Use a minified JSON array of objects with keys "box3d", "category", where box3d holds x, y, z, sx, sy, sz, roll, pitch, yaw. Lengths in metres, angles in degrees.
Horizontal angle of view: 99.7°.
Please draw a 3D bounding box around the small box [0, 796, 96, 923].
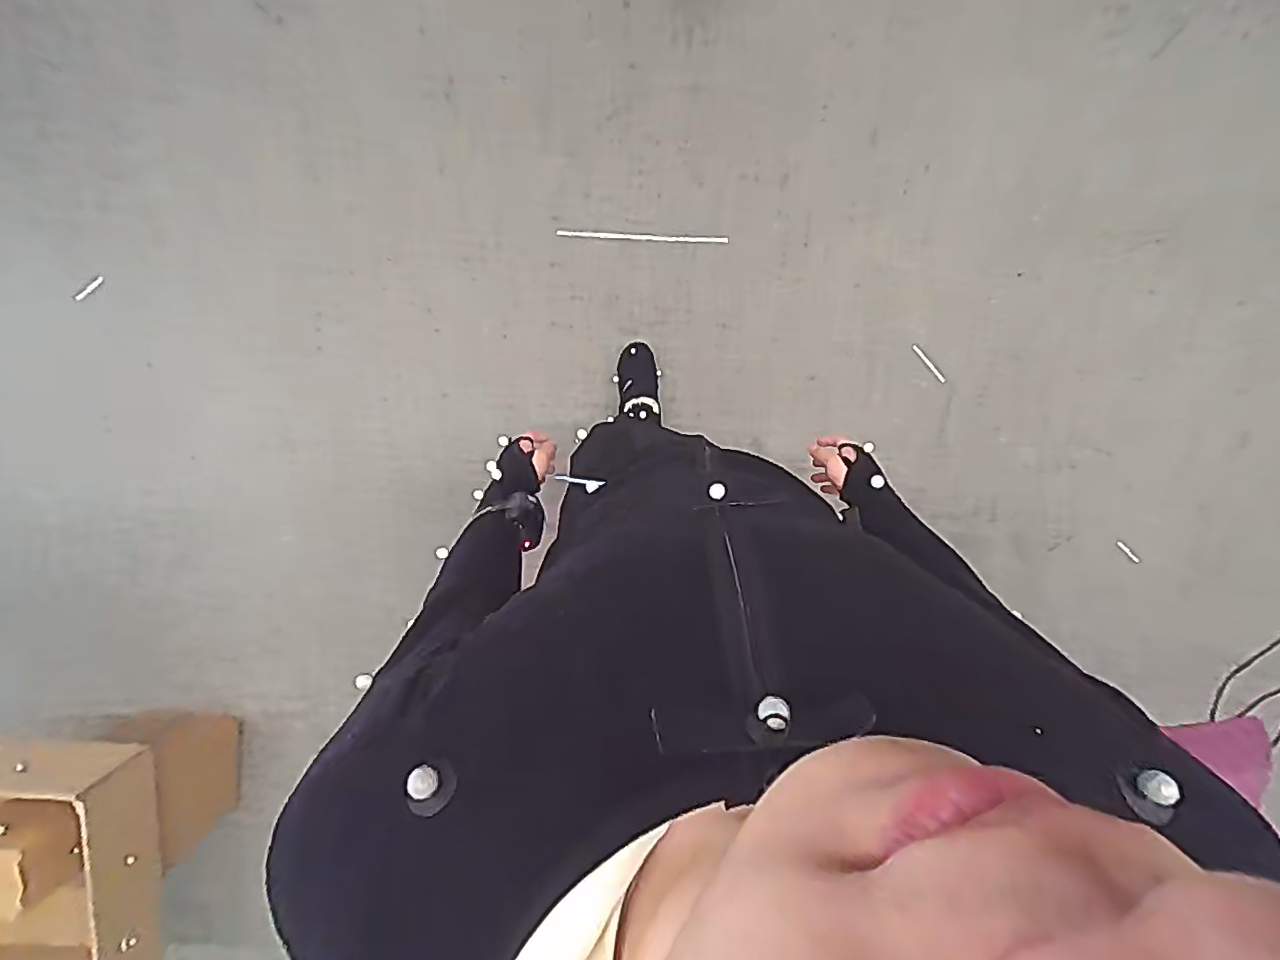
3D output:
[{"box3d":[-1.388,0.839,1.210,0.179,0.176,0.168,5,96,-2],"category":"small box"}]
